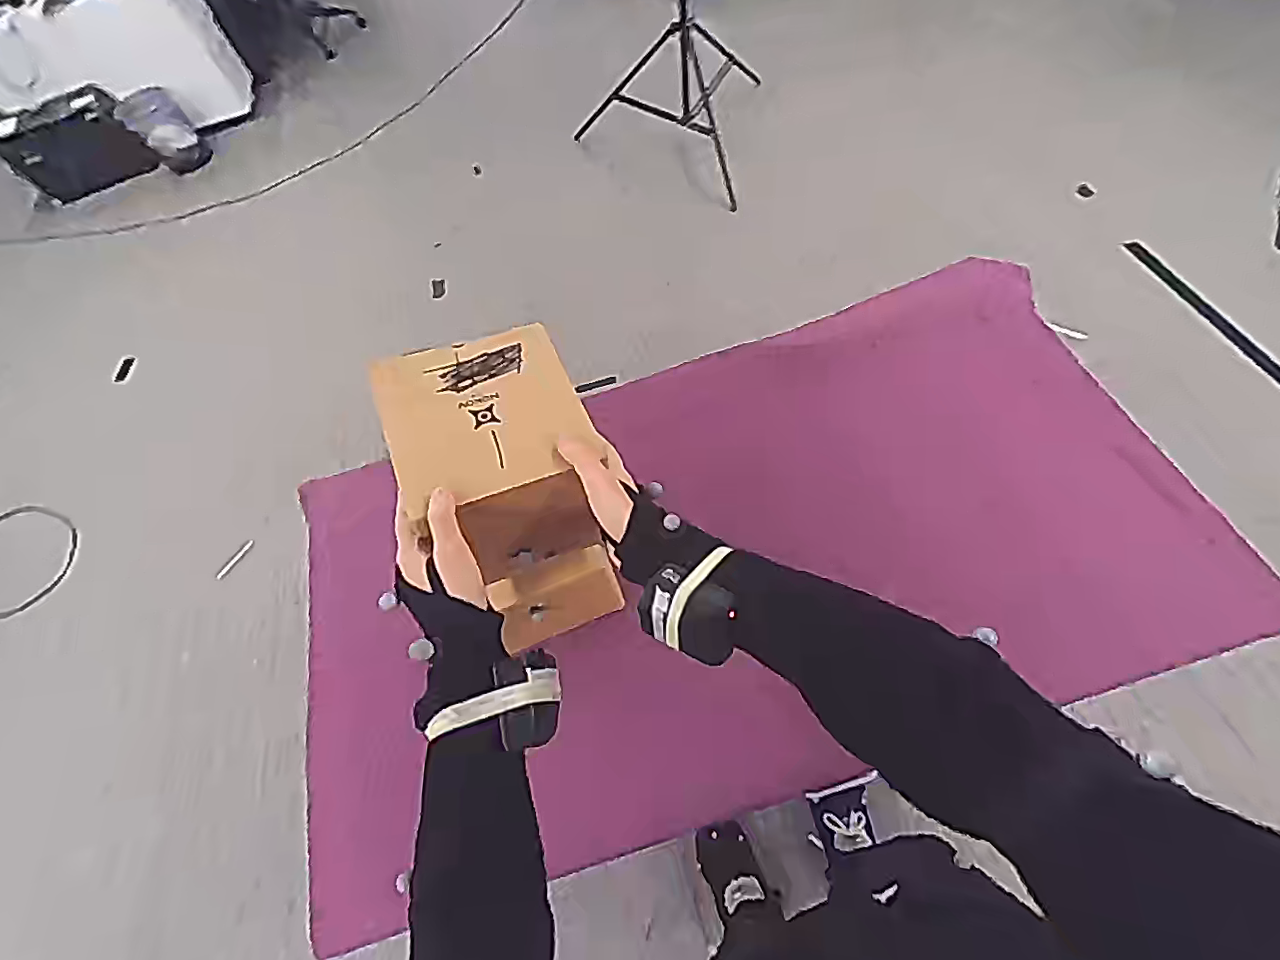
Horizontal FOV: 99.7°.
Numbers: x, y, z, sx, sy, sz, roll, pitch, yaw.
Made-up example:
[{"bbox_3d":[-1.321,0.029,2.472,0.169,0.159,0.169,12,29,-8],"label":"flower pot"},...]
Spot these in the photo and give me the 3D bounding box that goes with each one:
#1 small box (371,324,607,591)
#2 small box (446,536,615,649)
[{"bbox_3d":[-0.142,-0.019,0.533,0.168,0.176,0.179,-18,62,-17],"label":"small box"},{"bbox_3d":[-0.140,0.101,0.703,0.179,0.176,0.168,-22,62,-3],"label":"small box"}]
